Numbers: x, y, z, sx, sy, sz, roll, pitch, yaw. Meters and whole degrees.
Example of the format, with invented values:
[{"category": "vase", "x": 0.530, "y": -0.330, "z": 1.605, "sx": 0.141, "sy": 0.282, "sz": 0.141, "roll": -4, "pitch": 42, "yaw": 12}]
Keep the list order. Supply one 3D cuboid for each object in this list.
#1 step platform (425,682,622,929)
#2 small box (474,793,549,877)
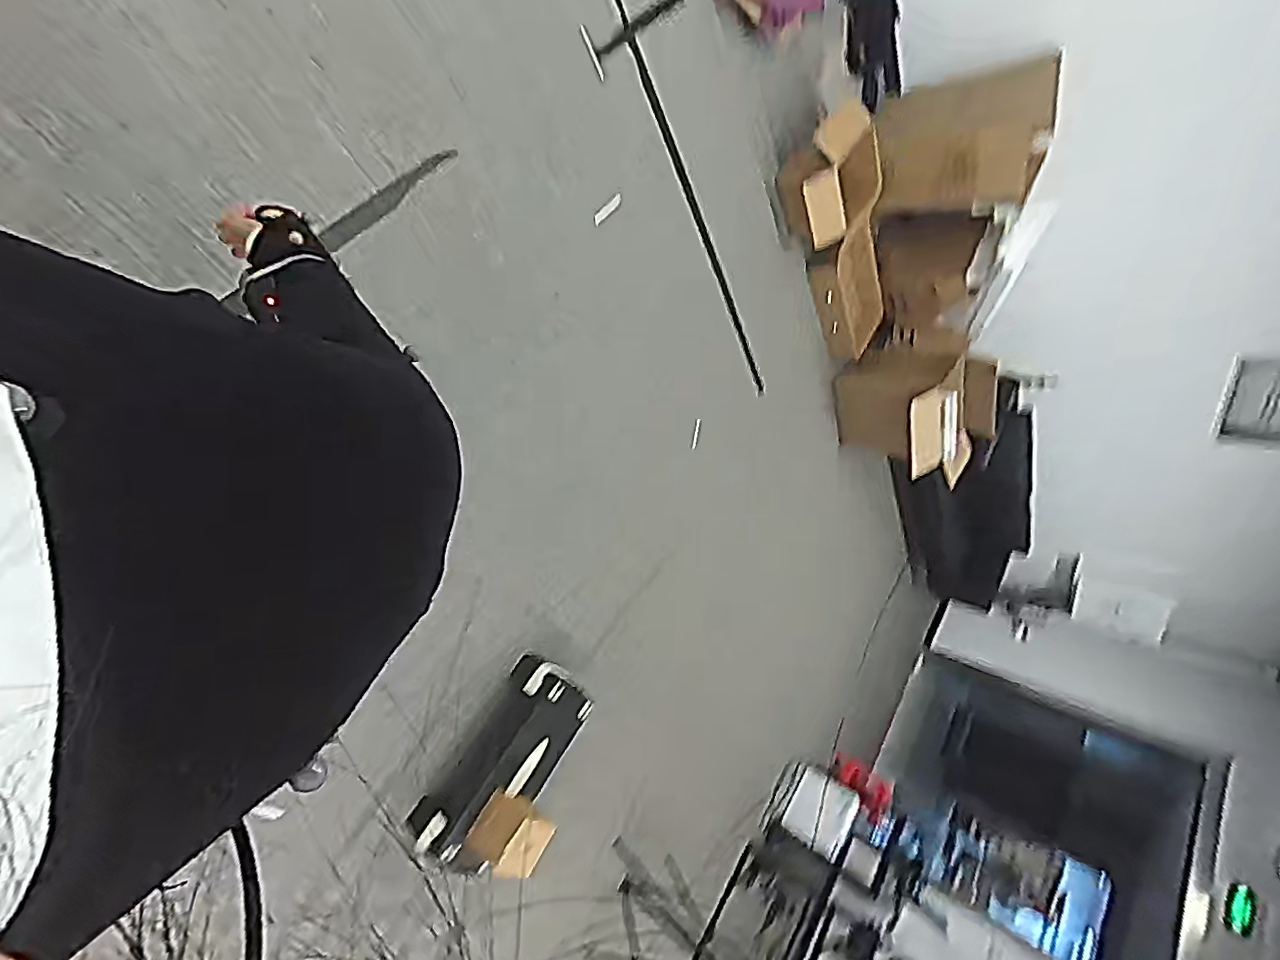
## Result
[{"category": "step platform", "x": -0.353, "y": 1.012, "z": 1.737, "sx": 0.684, "sy": 0.204, "sz": 0.286, "roll": -54, "pitch": 135, "yaw": -21}, {"category": "small box", "x": -0.434, "y": 1.127, "z": 1.736, "sx": 0.168, "sy": 0.176, "sz": 0.179, "roll": -55, "pitch": 134, "yaw": -22}]
